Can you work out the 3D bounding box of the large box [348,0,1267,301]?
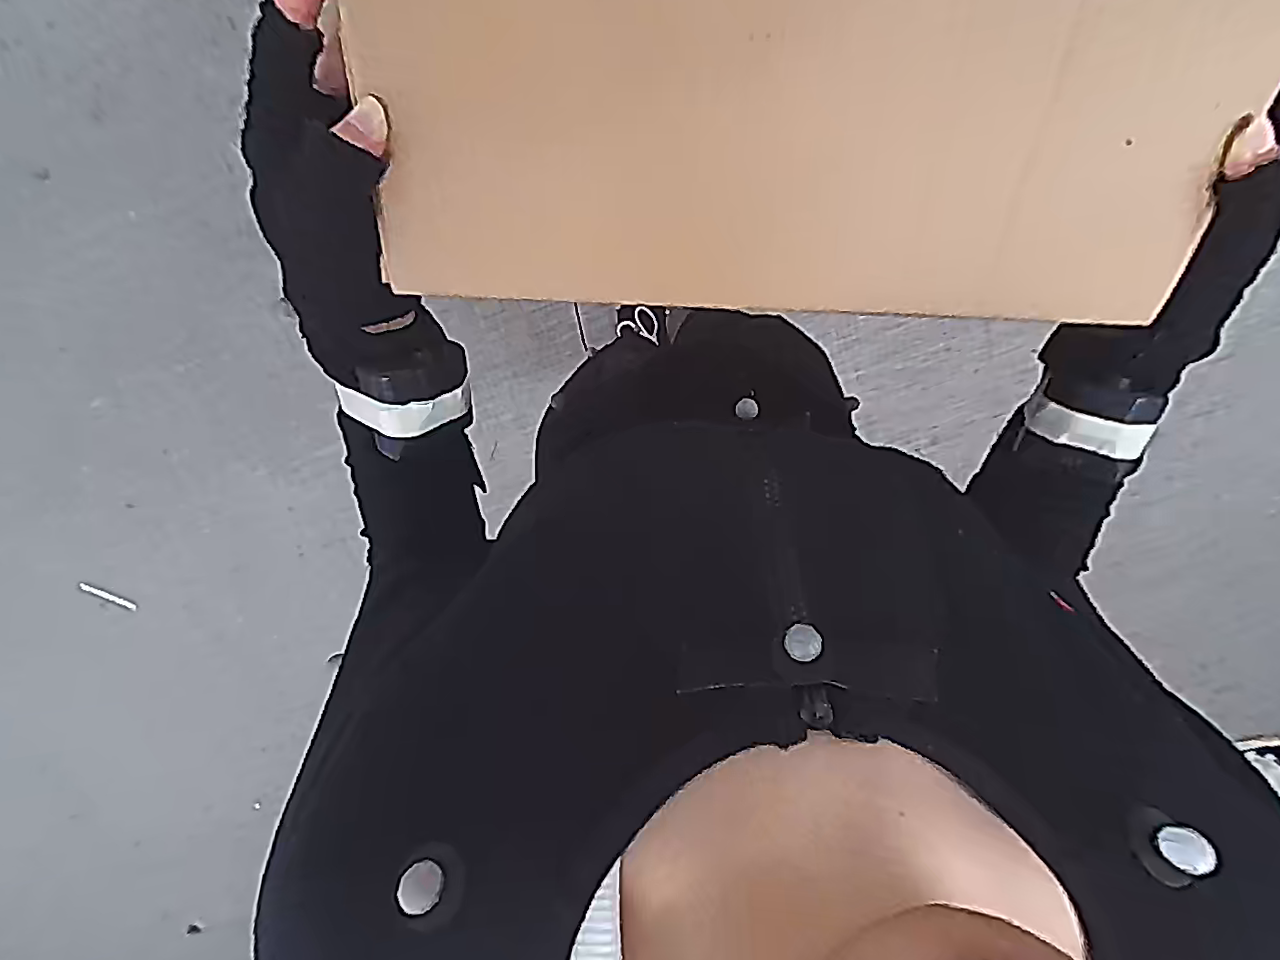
[{"bbox_3d":[0.069,-0.306,0.348,0.408,0.320,0.320,1,120,-2],"label":"large box"}]
